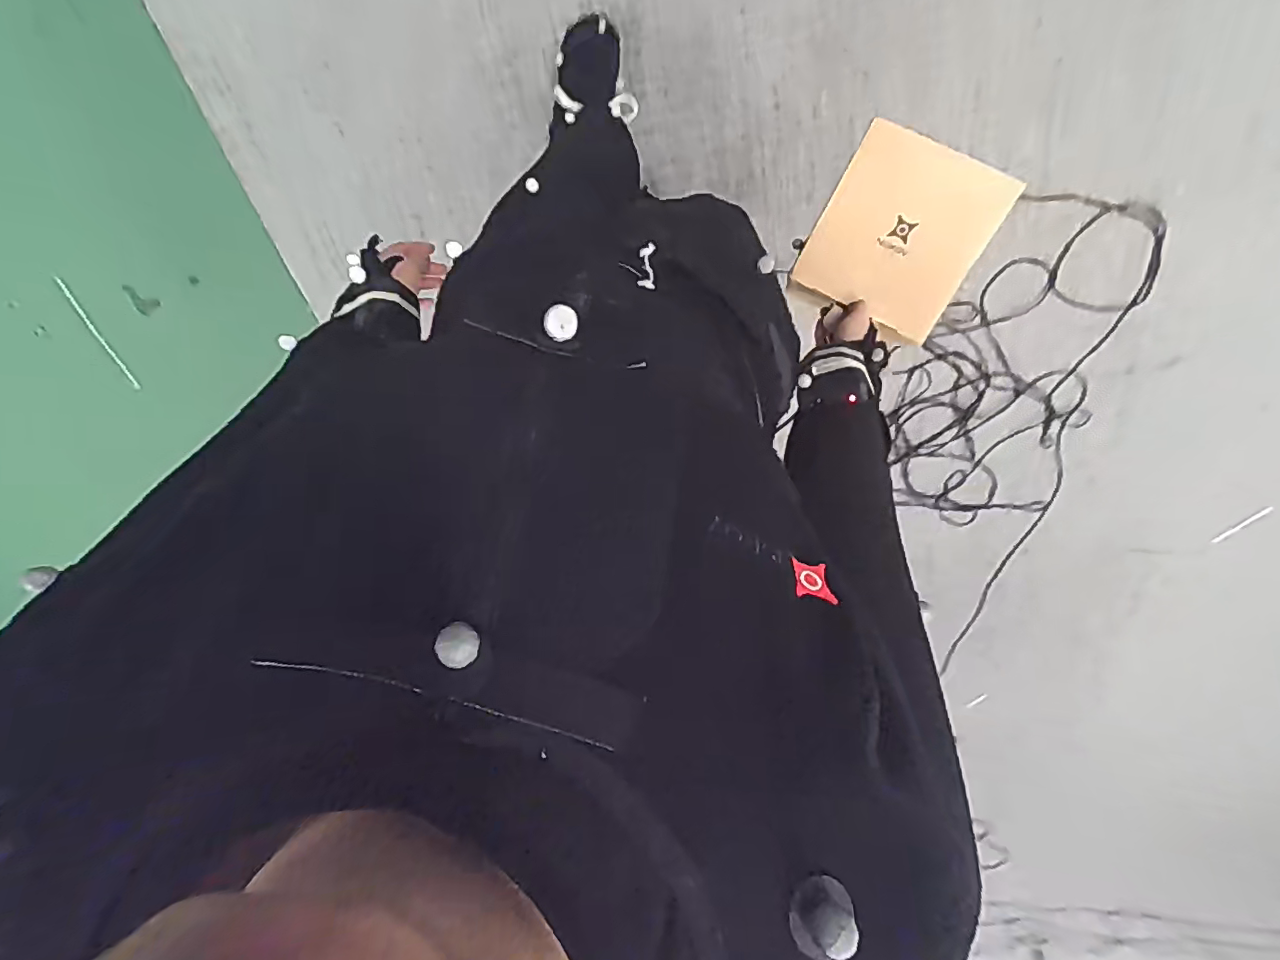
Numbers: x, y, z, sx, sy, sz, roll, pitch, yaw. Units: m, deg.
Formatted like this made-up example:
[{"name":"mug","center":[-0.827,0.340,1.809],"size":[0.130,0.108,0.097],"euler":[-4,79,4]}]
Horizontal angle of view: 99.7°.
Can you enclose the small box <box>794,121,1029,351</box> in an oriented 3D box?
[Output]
[{"name":"small box","center":[0.295,-0.271,0.639],"size":[0.168,0.176,0.179],"euler":[30,111,6]}]
